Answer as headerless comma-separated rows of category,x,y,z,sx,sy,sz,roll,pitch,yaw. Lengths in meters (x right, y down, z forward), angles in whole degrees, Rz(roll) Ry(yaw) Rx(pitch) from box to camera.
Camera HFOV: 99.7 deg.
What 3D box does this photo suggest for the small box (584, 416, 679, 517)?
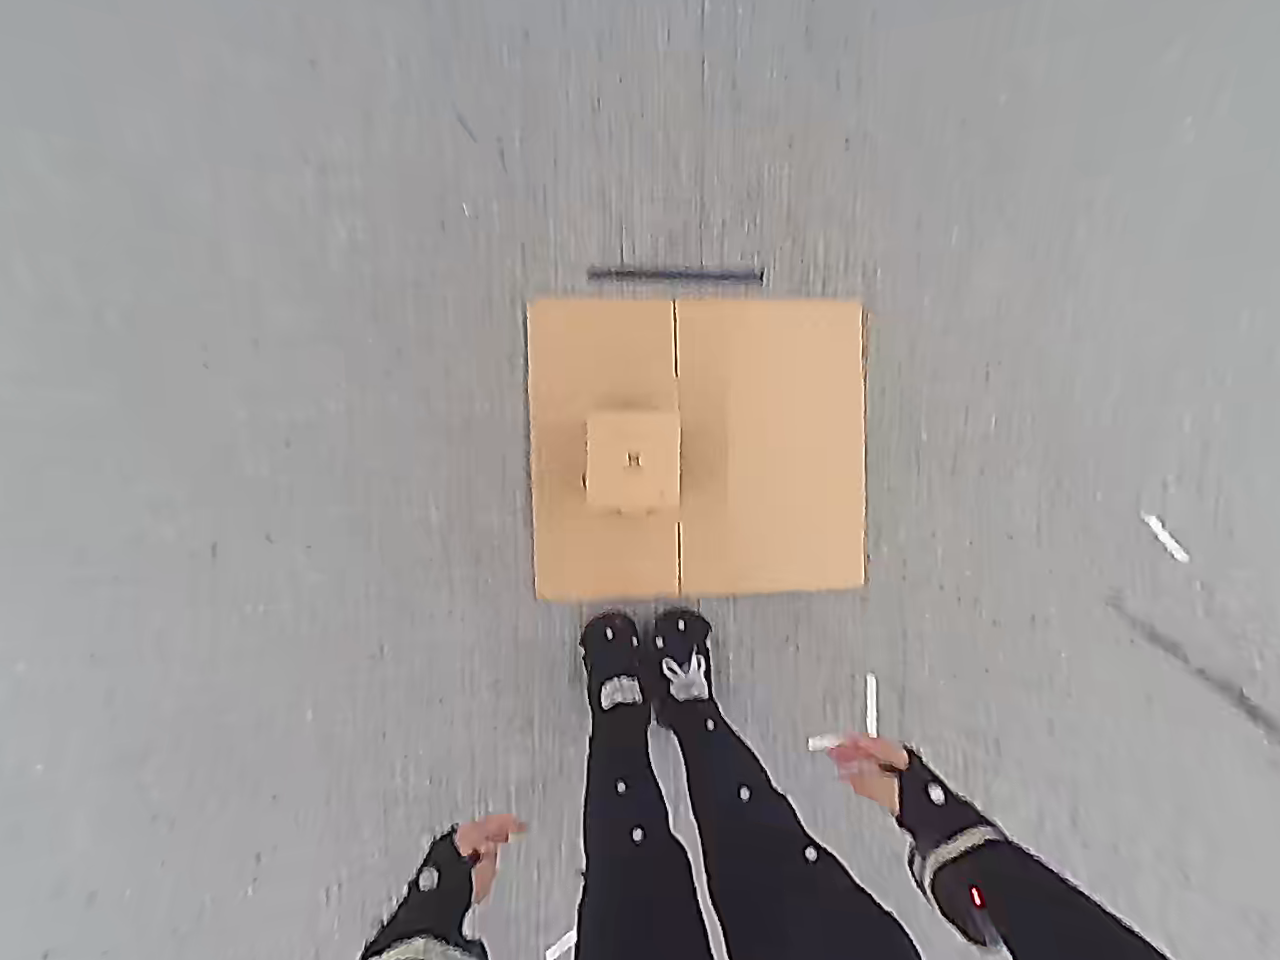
small box,-0.021,-0.026,1.023,0.168,0.176,0.179,0,91,-7
